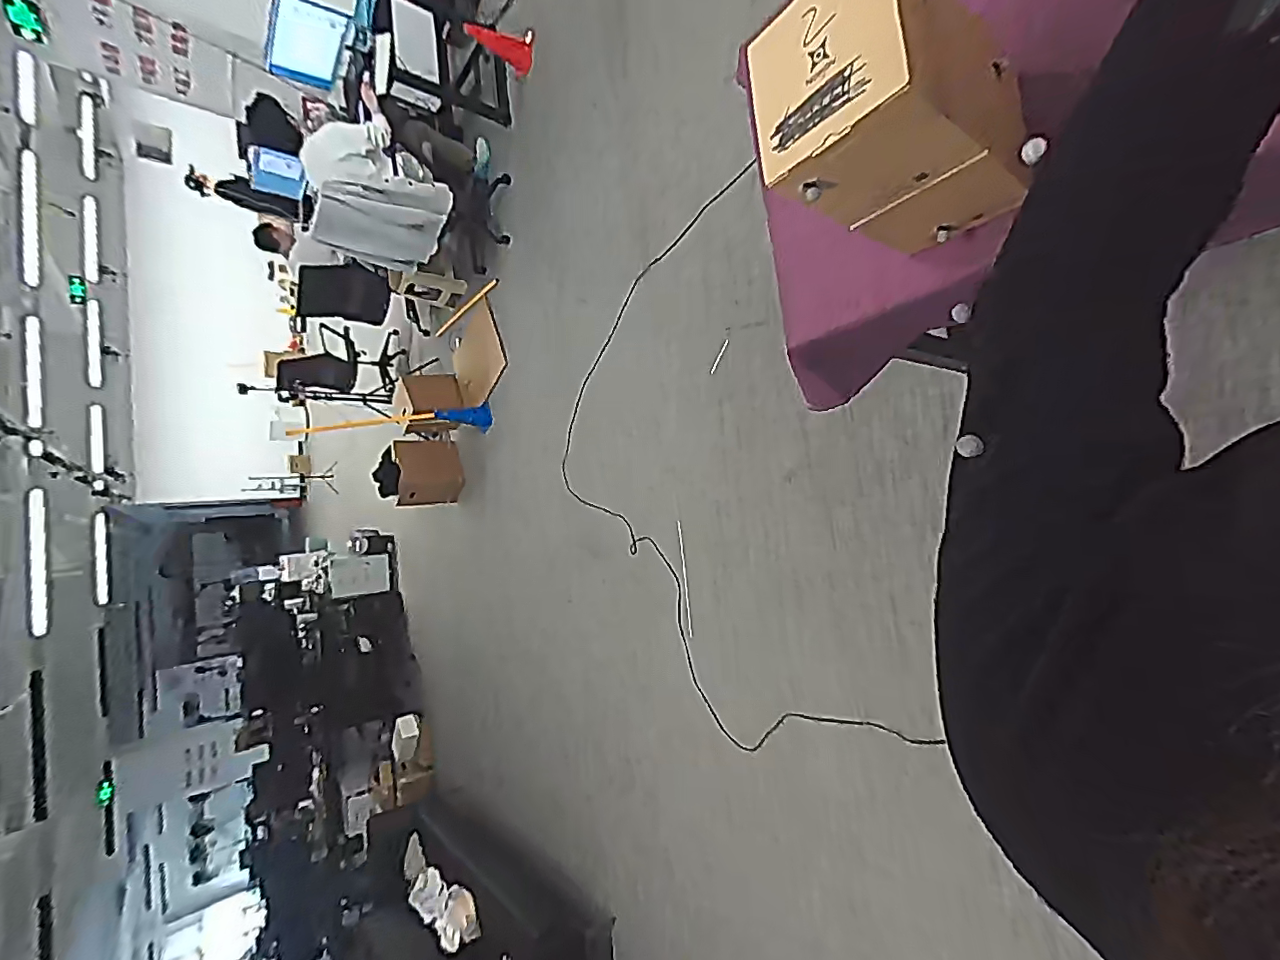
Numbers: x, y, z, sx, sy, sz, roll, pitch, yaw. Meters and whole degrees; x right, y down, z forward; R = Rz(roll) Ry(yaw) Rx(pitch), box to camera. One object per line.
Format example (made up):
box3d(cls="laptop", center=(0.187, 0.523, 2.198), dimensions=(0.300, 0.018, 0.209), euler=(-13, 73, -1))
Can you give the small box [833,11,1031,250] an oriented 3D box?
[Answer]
box3d(cls="small box", center=(0.380, -0.432, 0.706), dimensions=(0.168, 0.176, 0.179), euler=(-12, 84, 51))
